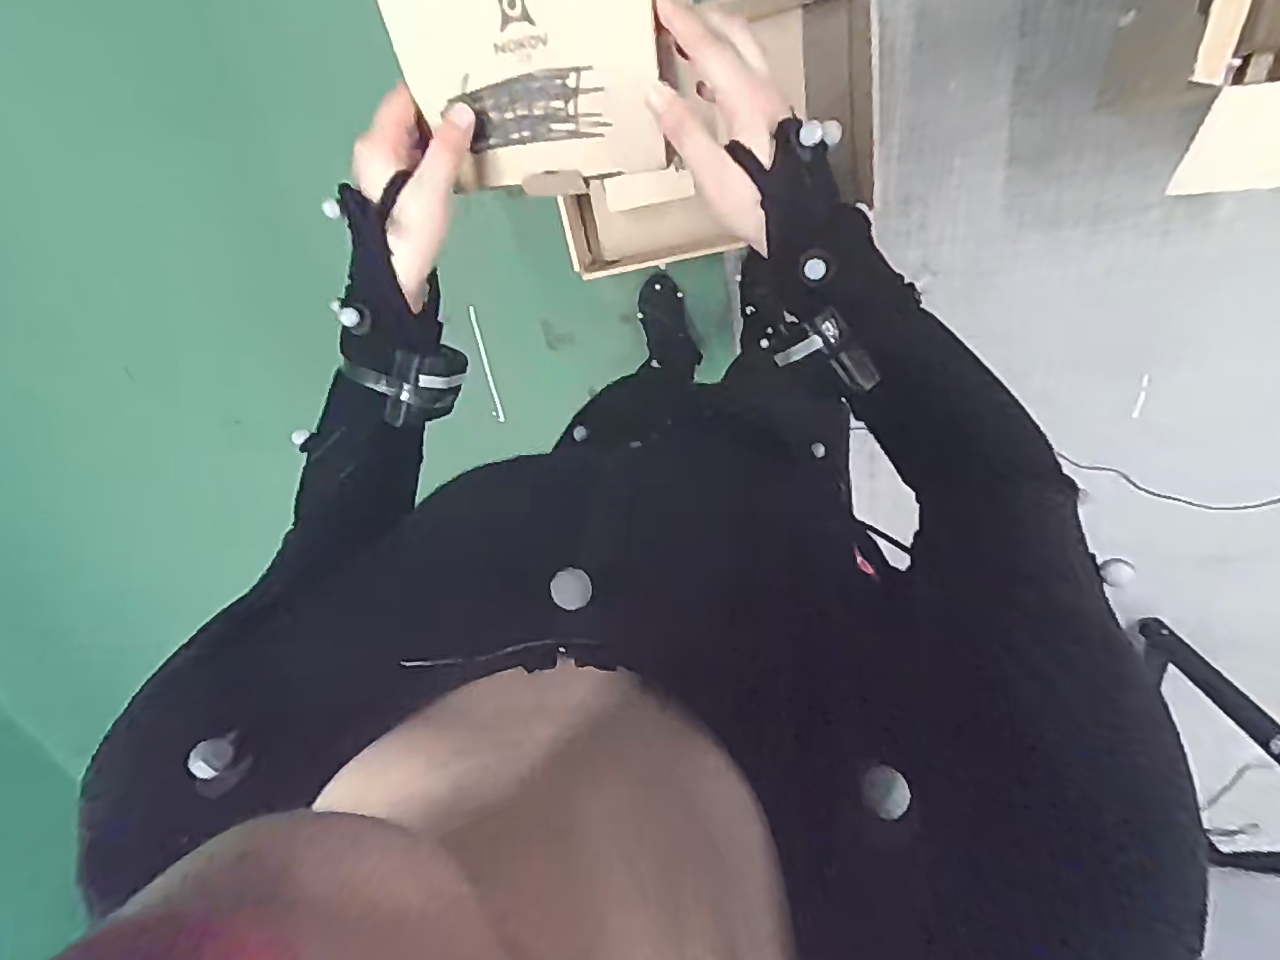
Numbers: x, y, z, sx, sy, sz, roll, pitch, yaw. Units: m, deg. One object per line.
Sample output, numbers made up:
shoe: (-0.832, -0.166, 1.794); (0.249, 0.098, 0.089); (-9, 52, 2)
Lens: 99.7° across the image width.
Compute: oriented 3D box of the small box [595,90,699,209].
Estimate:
small box: (0.022, -0.651, 1.085); (0.179, 0.176, 0.168); (-8, 115, 8)

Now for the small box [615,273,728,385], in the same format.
small box: (0.081, -0.353, 1.266); (0.176, 0.168, 0.179); (30, 94, -41)
